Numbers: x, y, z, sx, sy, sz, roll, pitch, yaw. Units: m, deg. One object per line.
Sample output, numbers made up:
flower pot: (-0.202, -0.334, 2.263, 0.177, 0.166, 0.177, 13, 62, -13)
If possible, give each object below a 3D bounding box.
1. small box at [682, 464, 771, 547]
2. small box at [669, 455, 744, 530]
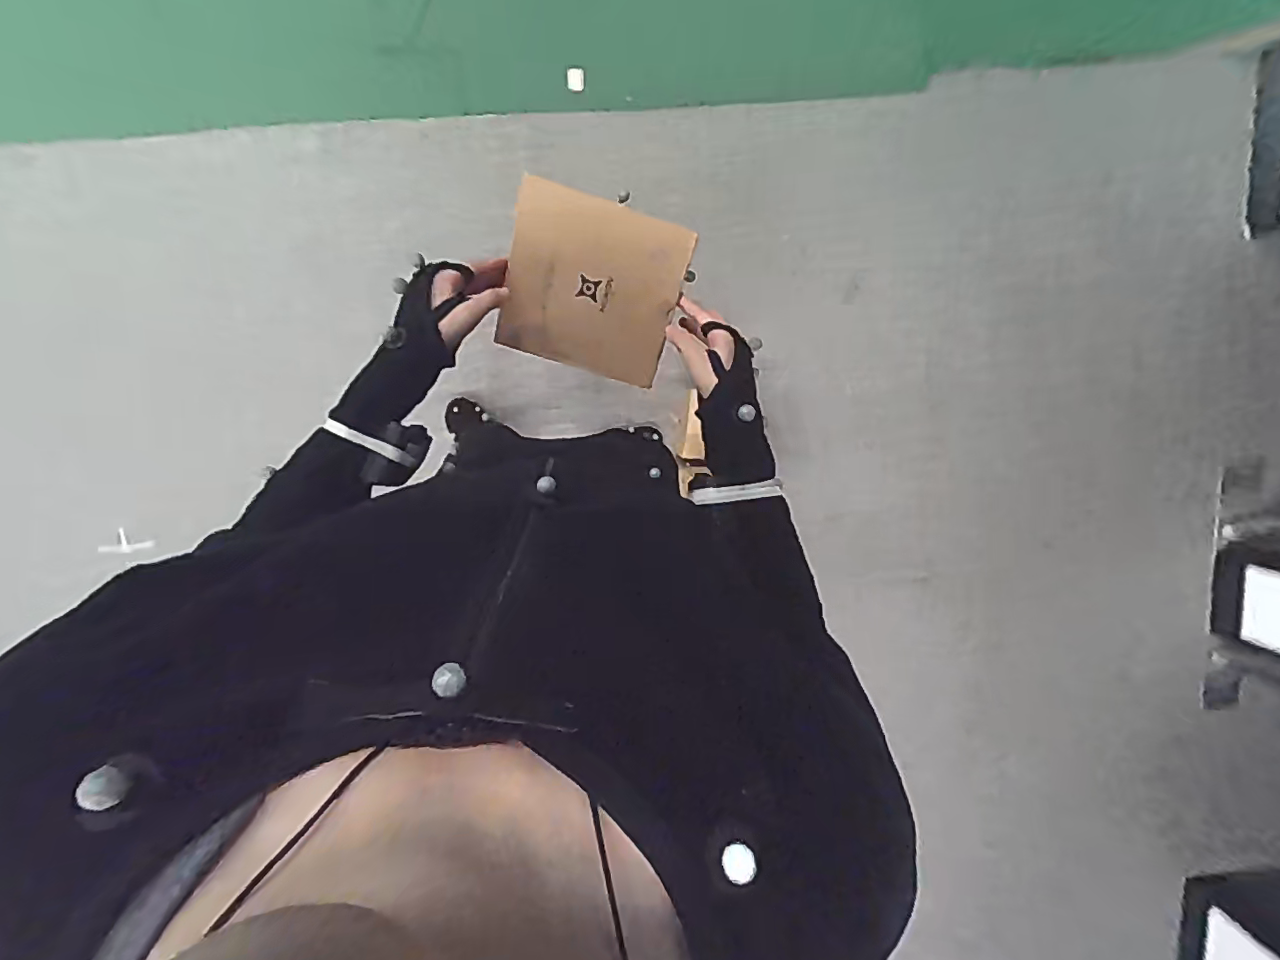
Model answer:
small box: (0.198, 0.055, 1.292, 0.179, 0.176, 0.168, 1, 100, -4)
small box: (0.176, 0.028, 1.453, 0.179, 0.176, 0.168, -4, 100, -2)
